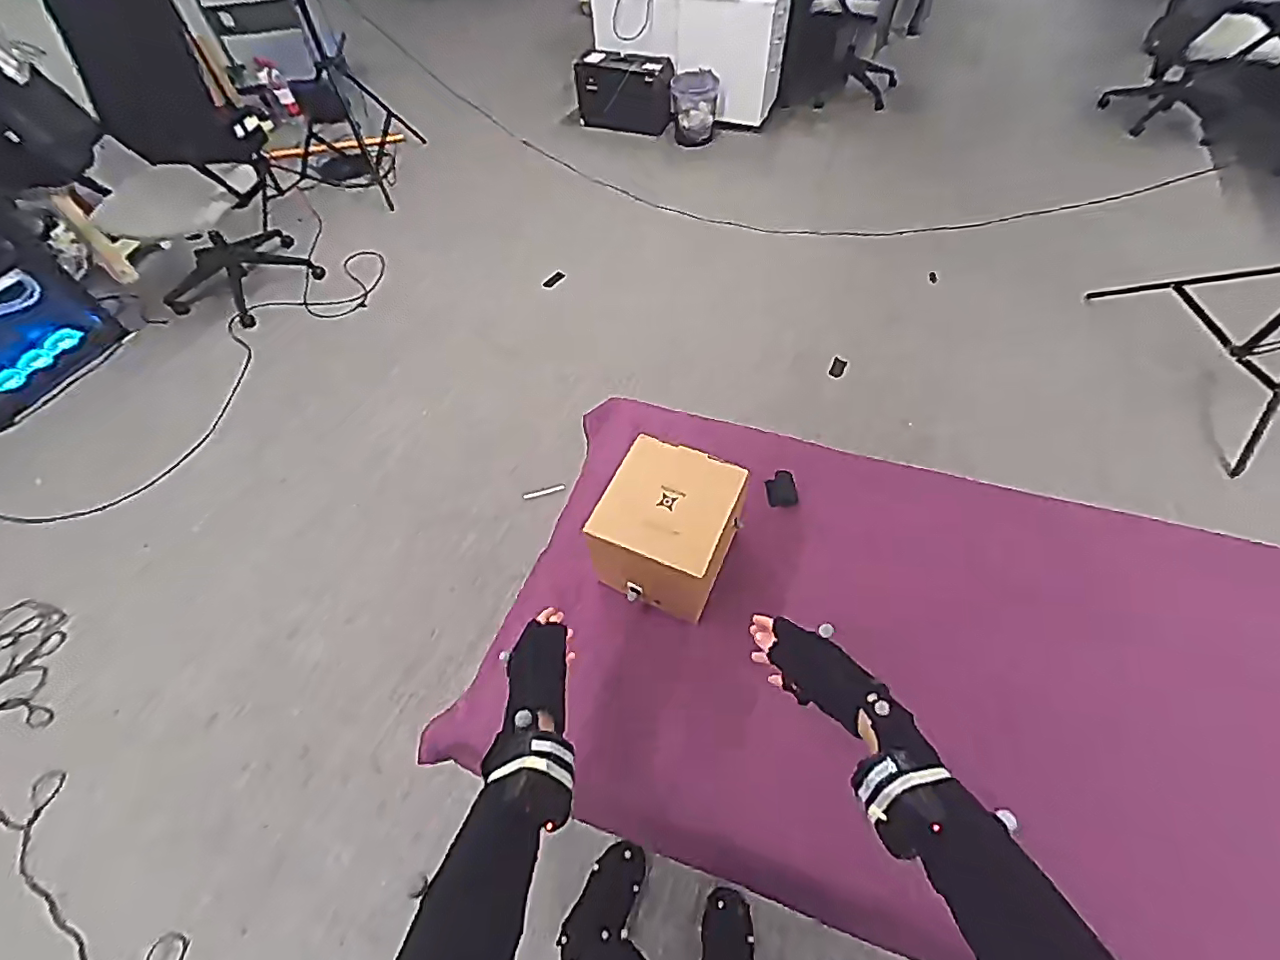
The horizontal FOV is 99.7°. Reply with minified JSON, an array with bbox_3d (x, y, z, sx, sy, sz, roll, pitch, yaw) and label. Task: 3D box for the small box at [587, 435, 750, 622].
[{"bbox_3d":[0.042,0.072,0.769,0.168,0.176,0.179,19,59,16],"label":"small box"}]
